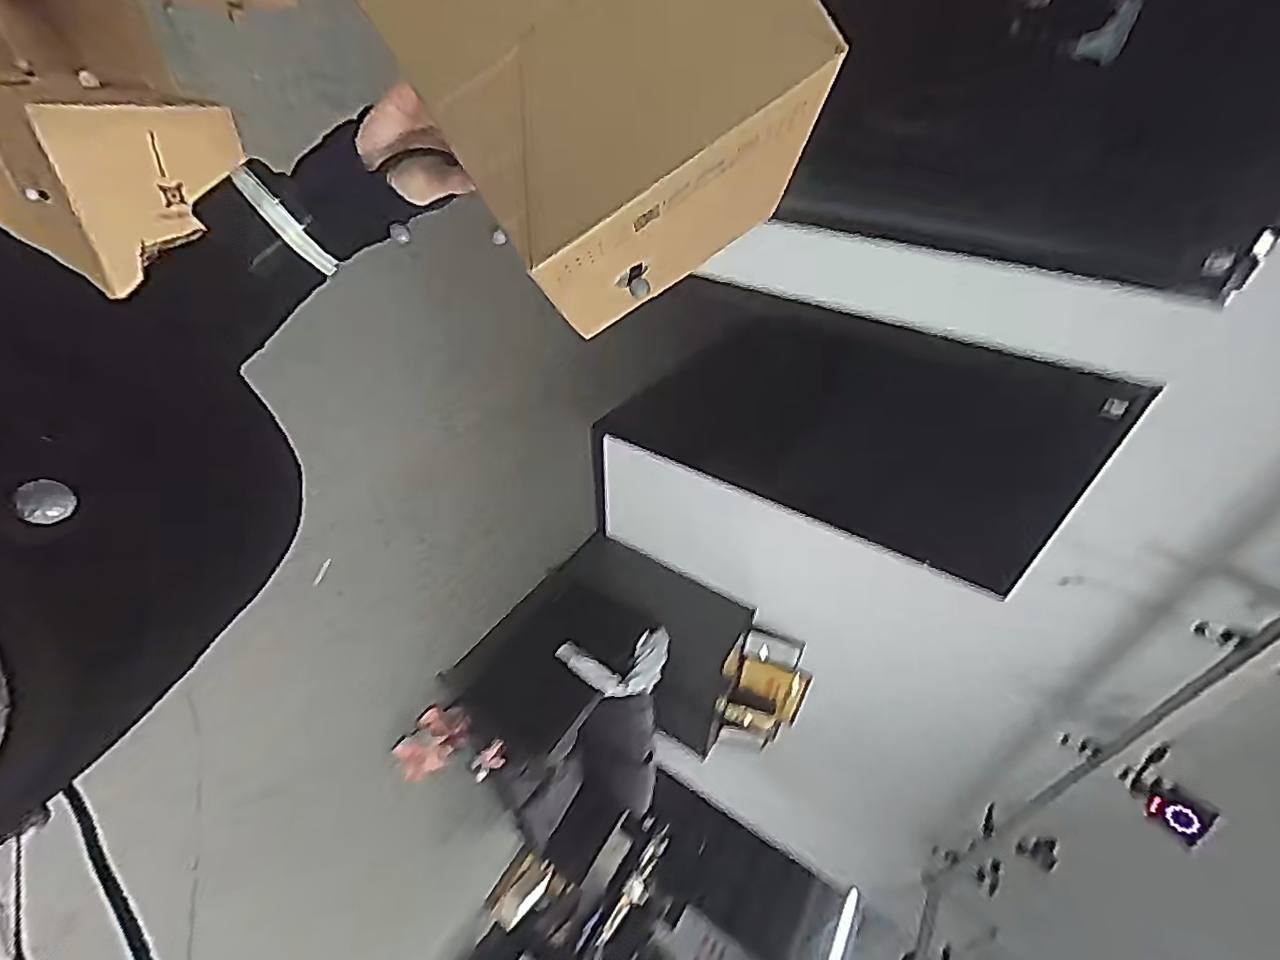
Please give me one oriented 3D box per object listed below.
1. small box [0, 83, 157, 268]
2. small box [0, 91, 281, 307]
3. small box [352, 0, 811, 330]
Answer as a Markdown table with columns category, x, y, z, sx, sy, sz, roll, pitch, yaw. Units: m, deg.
| category | x | y | z | sx | sy | sz | roll | pitch | yaw |
| --- | --- | --- | --- | --- | --- | --- | --- | --- | --- |
| small box | -0.687 | -0.379 | 0.665 | 0.168 | 0.176 | 0.179 | -38 | 143 | -42 |
| small box | -0.550 | -0.315 | 0.600 | 0.168 | 0.176 | 0.179 | -40 | 145 | -44 |
| small box | -0.024 | -0.218 | 0.307 | 0.168 | 0.179 | 0.176 | -34 | -178 | 5 |
